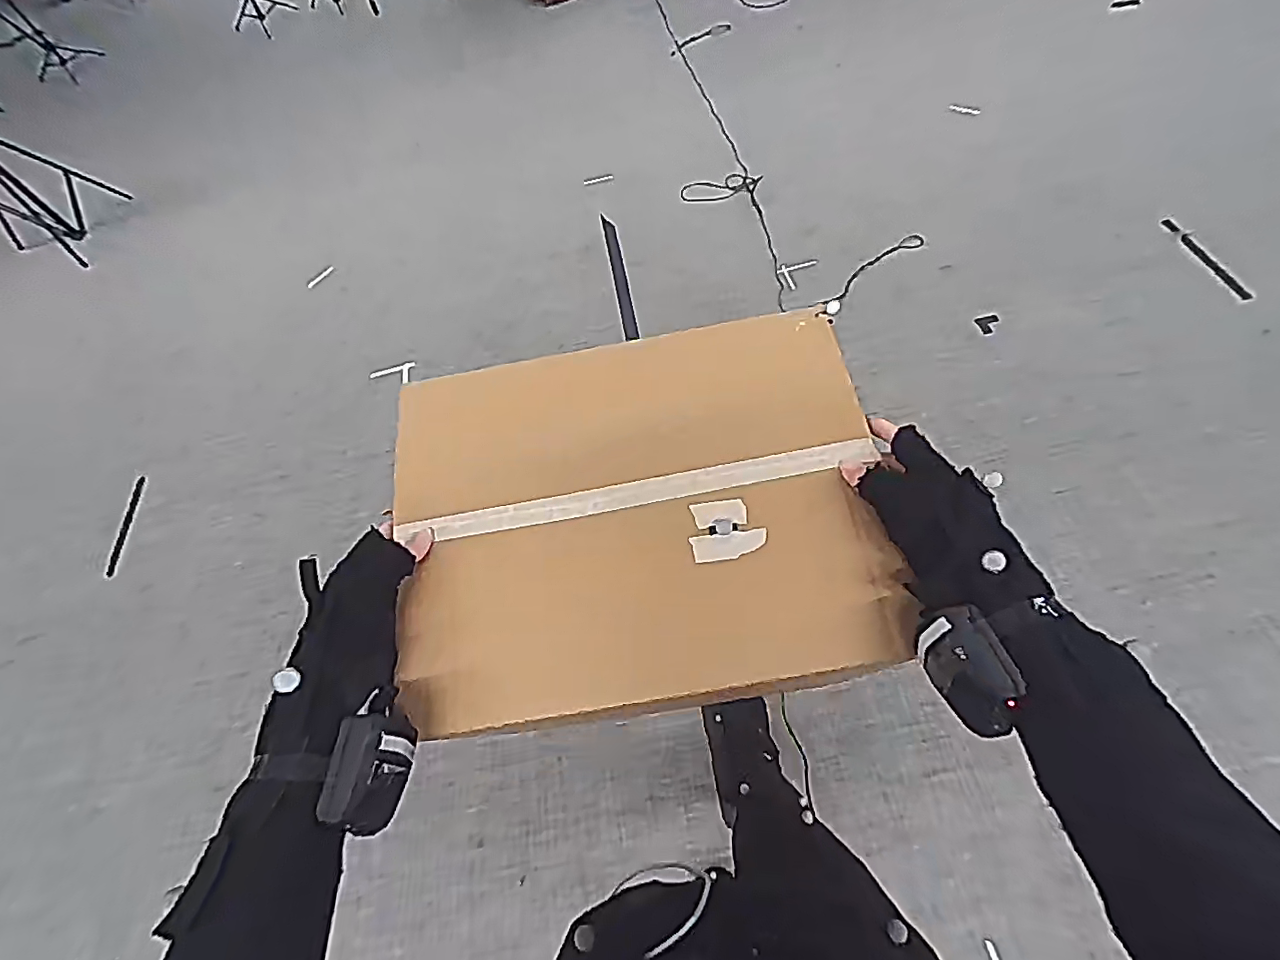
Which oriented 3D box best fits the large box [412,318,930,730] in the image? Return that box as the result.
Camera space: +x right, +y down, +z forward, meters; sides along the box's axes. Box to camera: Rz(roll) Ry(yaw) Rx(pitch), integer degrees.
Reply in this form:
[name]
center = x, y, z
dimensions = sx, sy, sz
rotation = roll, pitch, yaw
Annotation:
[large box]
center = 0.011, 0.075, 0.599
dimensions = 0.408, 0.320, 0.320
rotation = -10, 66, 1
